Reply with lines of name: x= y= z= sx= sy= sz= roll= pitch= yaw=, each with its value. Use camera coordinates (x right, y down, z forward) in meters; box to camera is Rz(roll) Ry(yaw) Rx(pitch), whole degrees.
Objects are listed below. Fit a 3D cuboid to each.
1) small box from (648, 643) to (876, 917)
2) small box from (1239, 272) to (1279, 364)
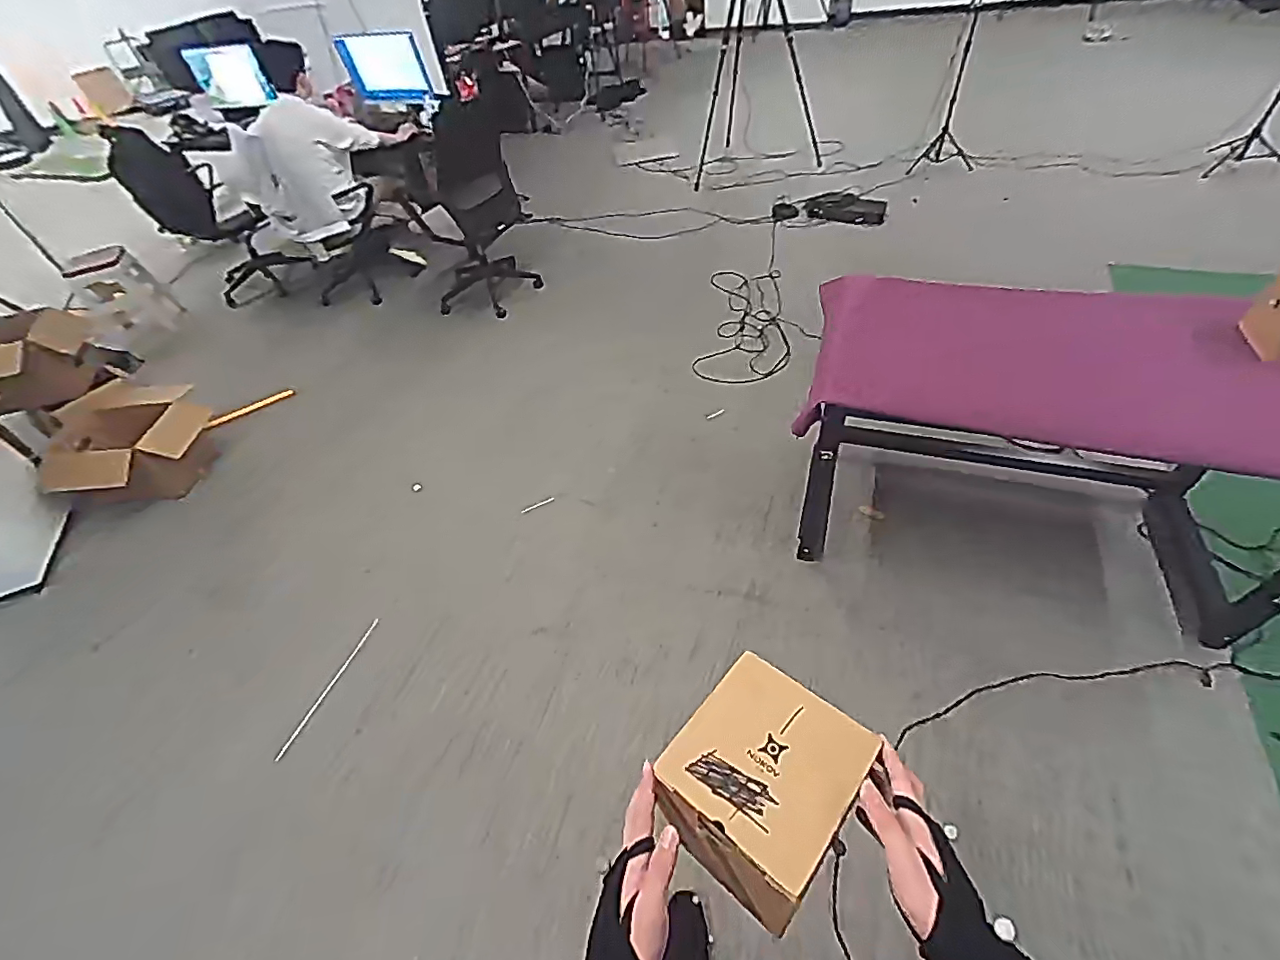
small box: x=0.131 y=0.328 z=0.597 sx=0.168 sy=0.176 sz=0.179 roll=29 pitch=52 yaw=33
small box: x=1.538 y=-0.374 z=1.227 sx=0.168 sy=0.176 sz=0.179 roll=10 pitch=50 yaw=18
